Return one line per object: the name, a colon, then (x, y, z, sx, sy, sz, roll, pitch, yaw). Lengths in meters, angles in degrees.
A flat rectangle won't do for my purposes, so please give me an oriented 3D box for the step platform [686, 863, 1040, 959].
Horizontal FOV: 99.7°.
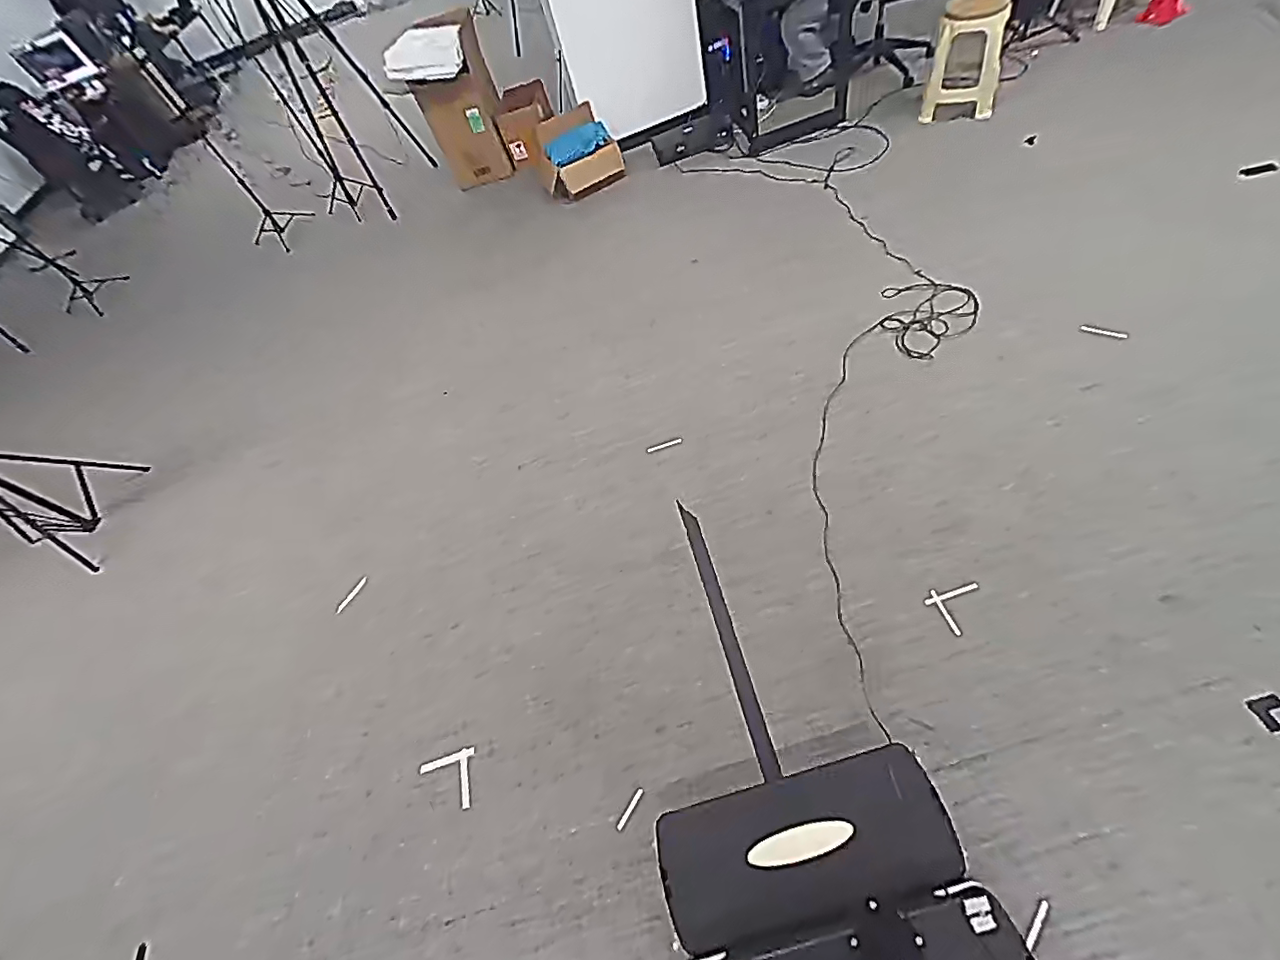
step platform: (0.437, 1.023, 1.076, 0.684, 0.204, 0.286, -21, 52, 3)
